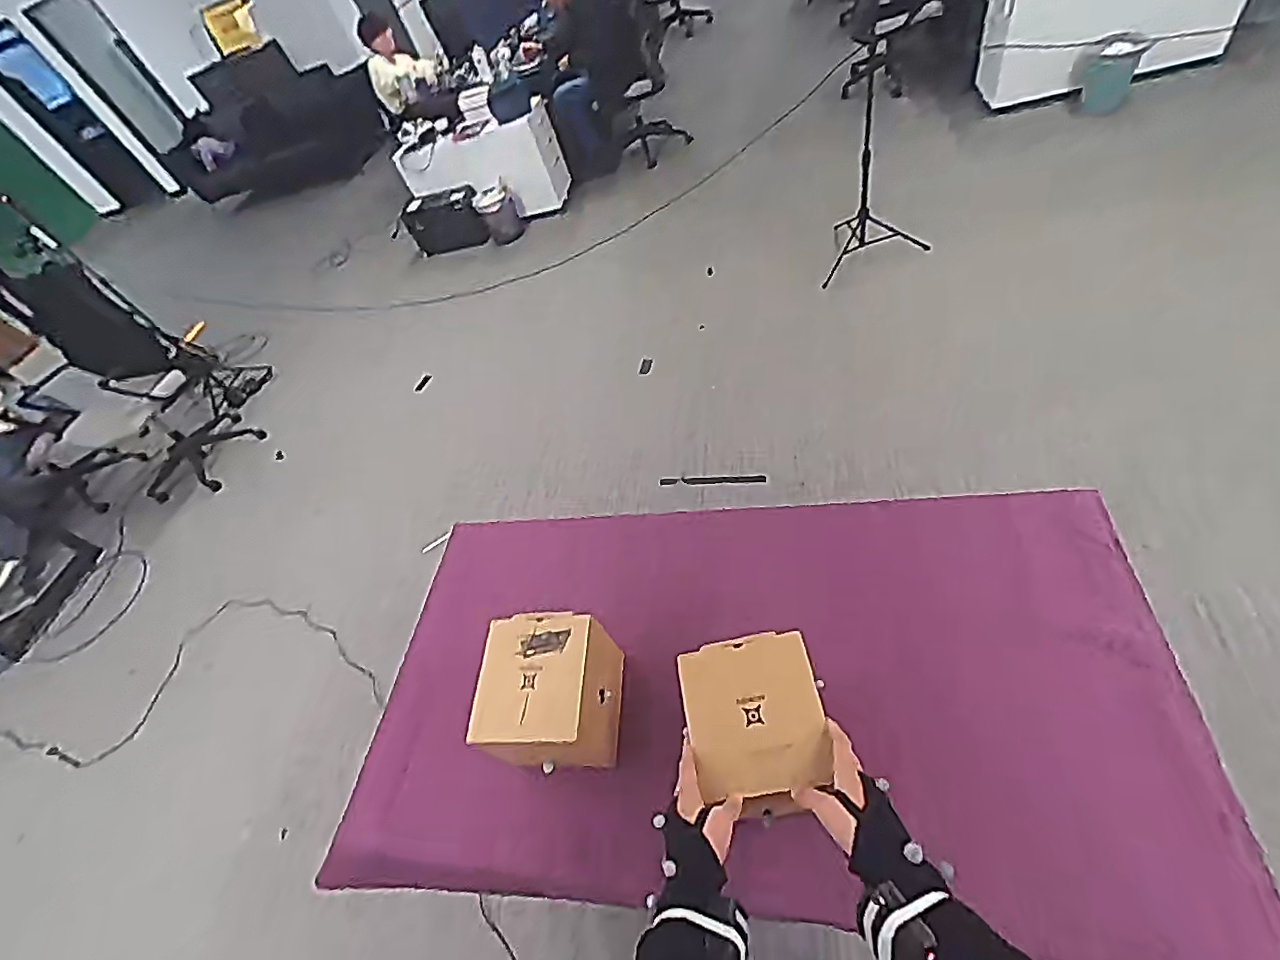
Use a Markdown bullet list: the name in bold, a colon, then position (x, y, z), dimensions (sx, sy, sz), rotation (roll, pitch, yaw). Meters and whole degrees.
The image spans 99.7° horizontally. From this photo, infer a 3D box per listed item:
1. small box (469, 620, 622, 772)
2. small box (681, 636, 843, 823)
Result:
- **small box**: position (-0.130, 0.332, 0.828), dimensions (0.168, 0.176, 0.179), rotation (-8, 52, 14)
- **small box**: position (0.160, 0.336, 0.721), dimensions (0.168, 0.176, 0.179), rotation (-15, 49, 9)
